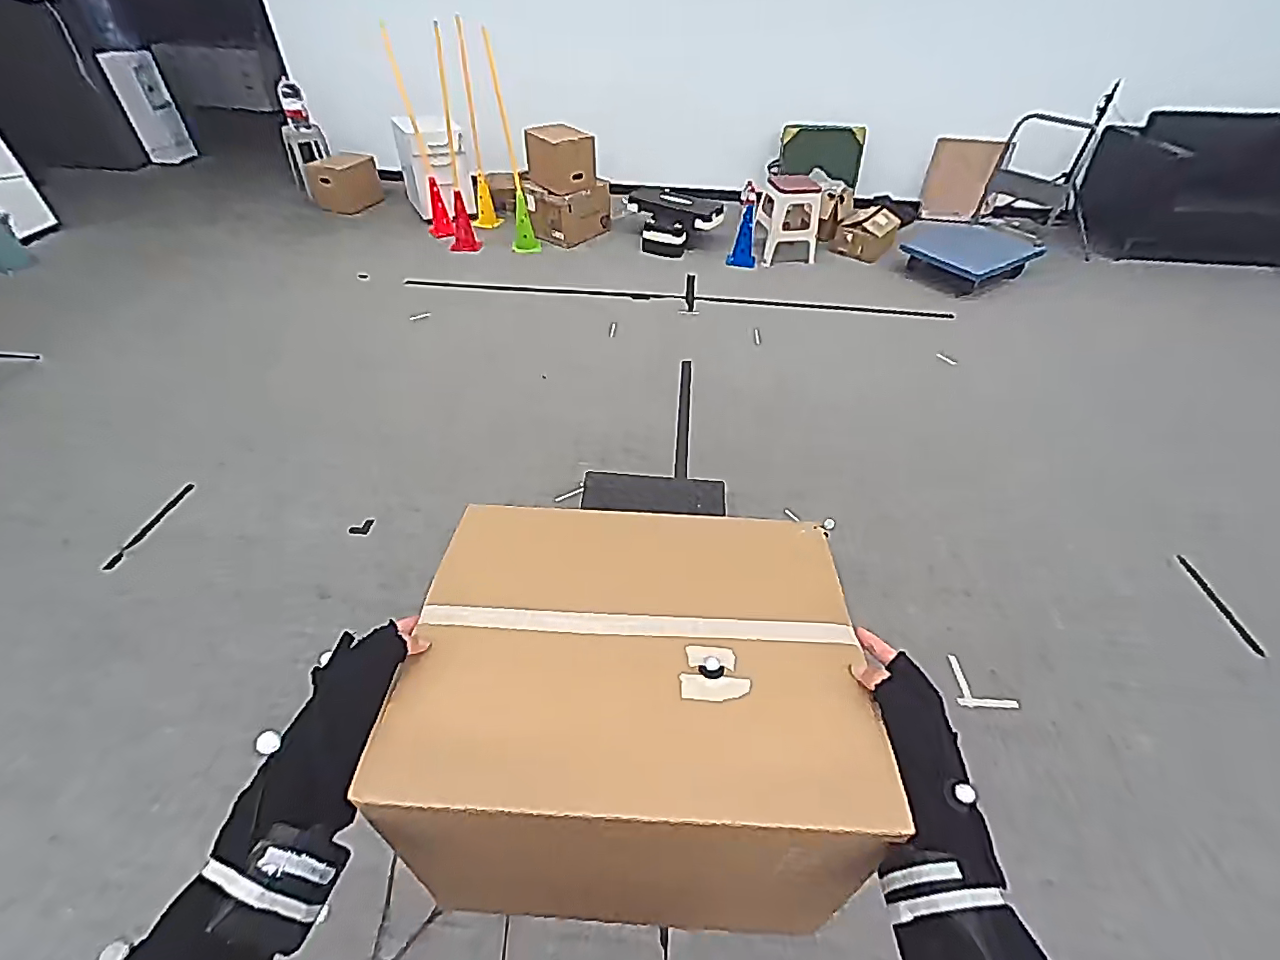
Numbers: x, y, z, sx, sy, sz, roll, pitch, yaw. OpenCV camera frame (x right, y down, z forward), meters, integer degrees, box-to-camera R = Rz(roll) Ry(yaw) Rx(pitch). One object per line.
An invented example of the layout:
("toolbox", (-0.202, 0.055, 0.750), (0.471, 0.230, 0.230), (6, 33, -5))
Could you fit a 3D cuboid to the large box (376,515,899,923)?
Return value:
("large box", (-0.003, 0.261, 0.611), (0.408, 0.320, 0.320), (3, 40, 1))
